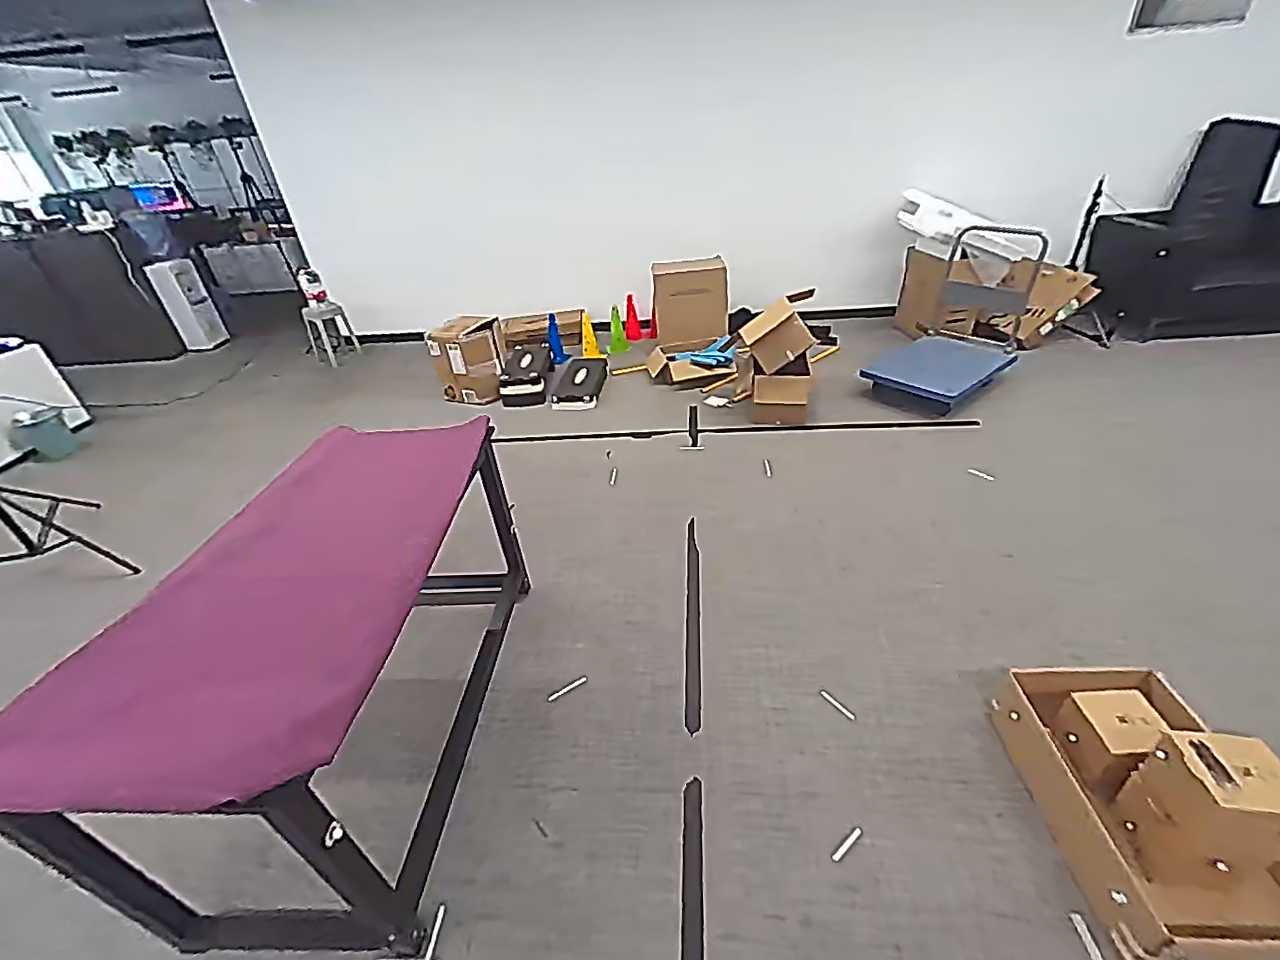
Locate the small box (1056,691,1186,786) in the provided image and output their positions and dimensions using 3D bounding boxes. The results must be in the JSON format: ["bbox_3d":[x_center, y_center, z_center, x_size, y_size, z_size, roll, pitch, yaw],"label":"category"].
[{"bbox_3d":[1.225,0.669,1.399,0.179,0.176,0.168,-3,35,4],"label":"small box"}]

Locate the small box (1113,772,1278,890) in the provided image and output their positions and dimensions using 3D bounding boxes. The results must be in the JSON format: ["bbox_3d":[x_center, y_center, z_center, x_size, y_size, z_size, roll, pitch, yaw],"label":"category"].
[{"bbox_3d":[1.235,0.792,1.221,0.179,0.176,0.168,0,32,9],"label":"small box"}]
